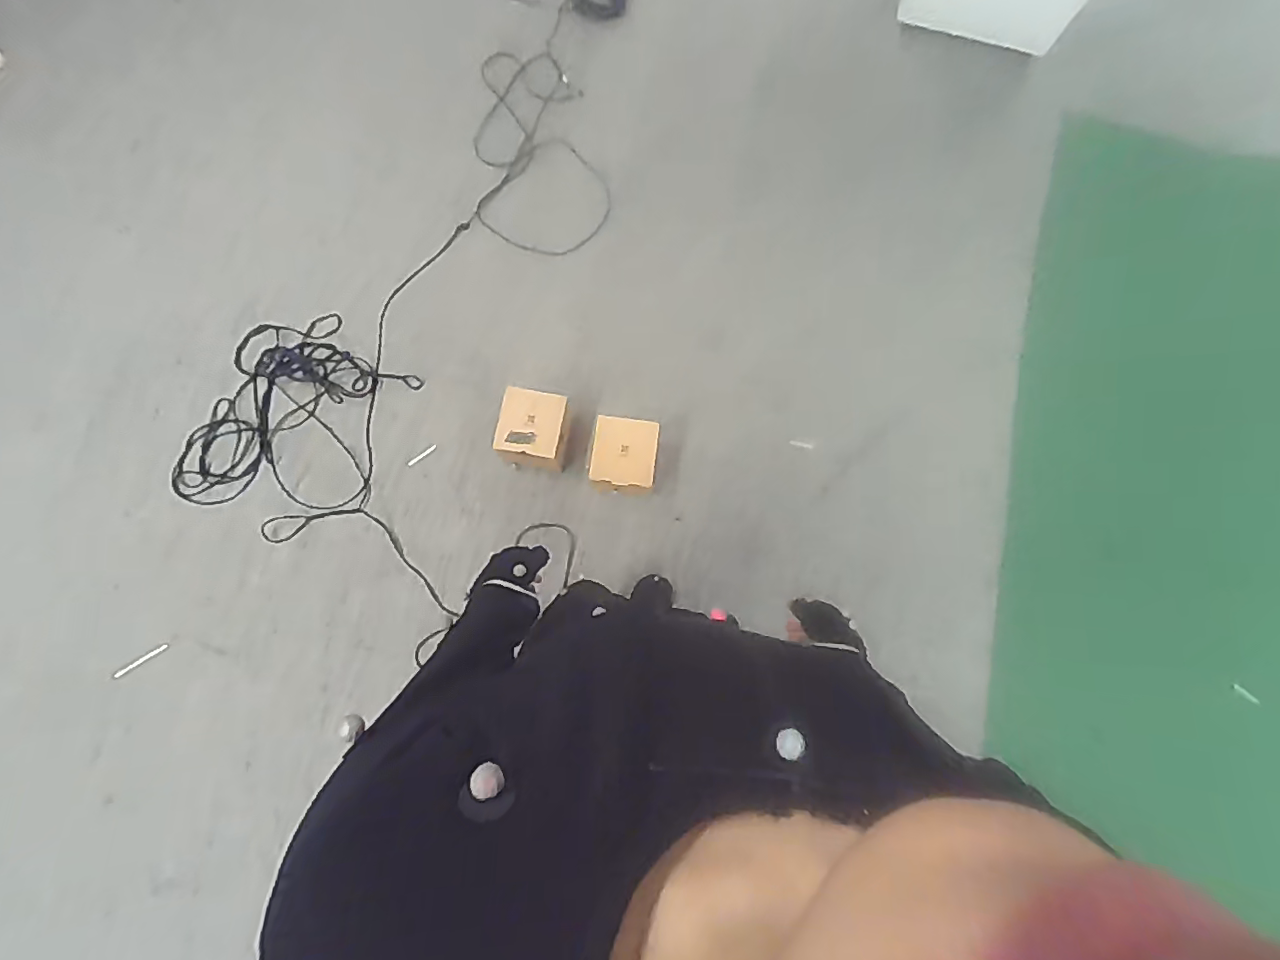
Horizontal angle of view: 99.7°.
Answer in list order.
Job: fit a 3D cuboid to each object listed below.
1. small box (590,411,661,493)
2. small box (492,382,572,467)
[{"bbox_3d":[-0.039,-0.070,1.463,0.168,0.176,0.179,7,80,0],"label":"small box"},{"bbox_3d":[-0.284,-0.143,1.469,0.168,0.176,0.179,10,79,1],"label":"small box"}]
